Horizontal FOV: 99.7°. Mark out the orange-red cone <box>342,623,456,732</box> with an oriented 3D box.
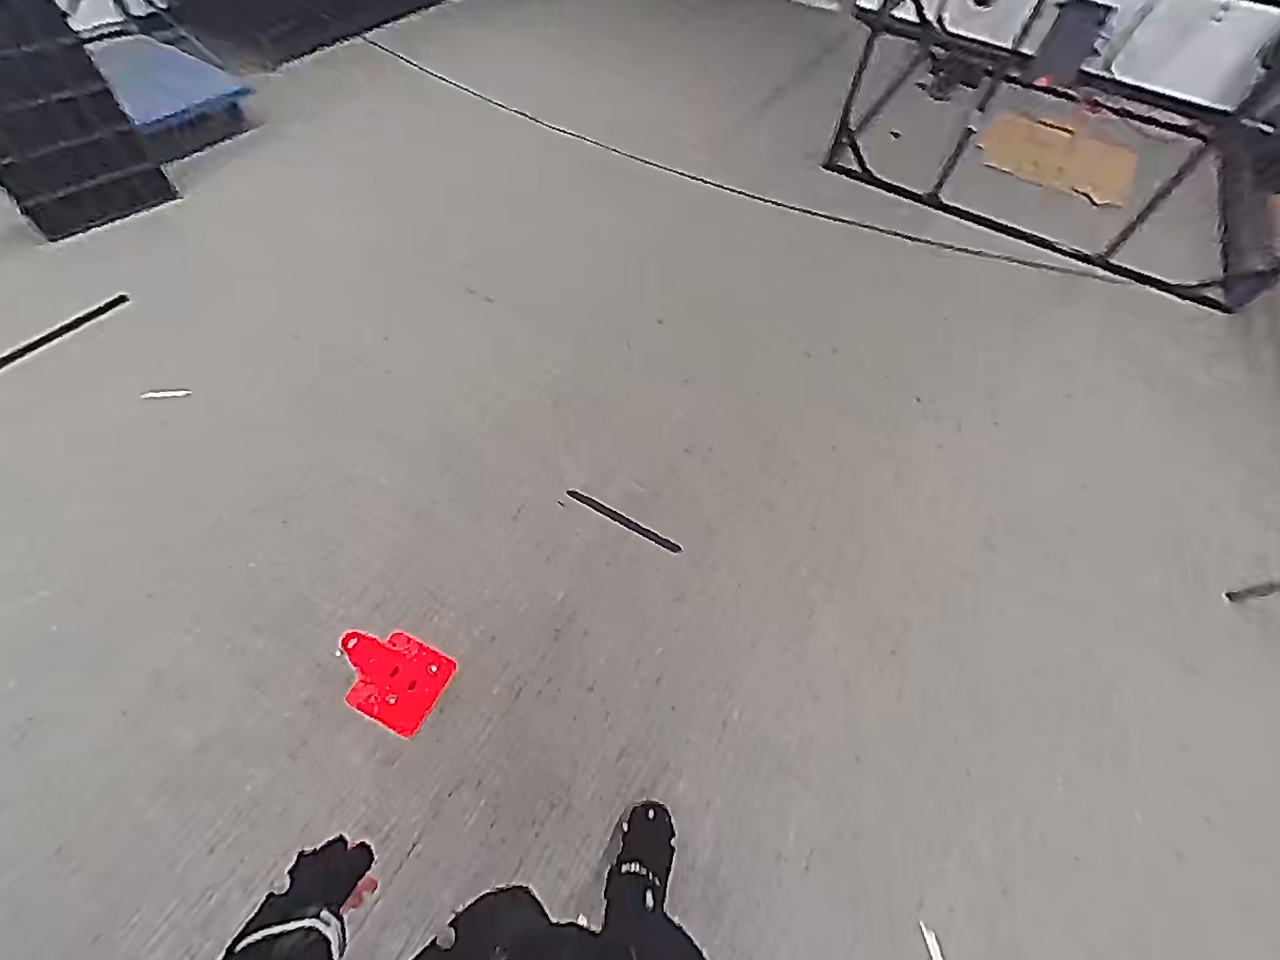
[{"bbox_3d":[-0.571,0.392,1.187,0.199,0.360,0.198,25,57,12],"label":"orange-red cone"}]
